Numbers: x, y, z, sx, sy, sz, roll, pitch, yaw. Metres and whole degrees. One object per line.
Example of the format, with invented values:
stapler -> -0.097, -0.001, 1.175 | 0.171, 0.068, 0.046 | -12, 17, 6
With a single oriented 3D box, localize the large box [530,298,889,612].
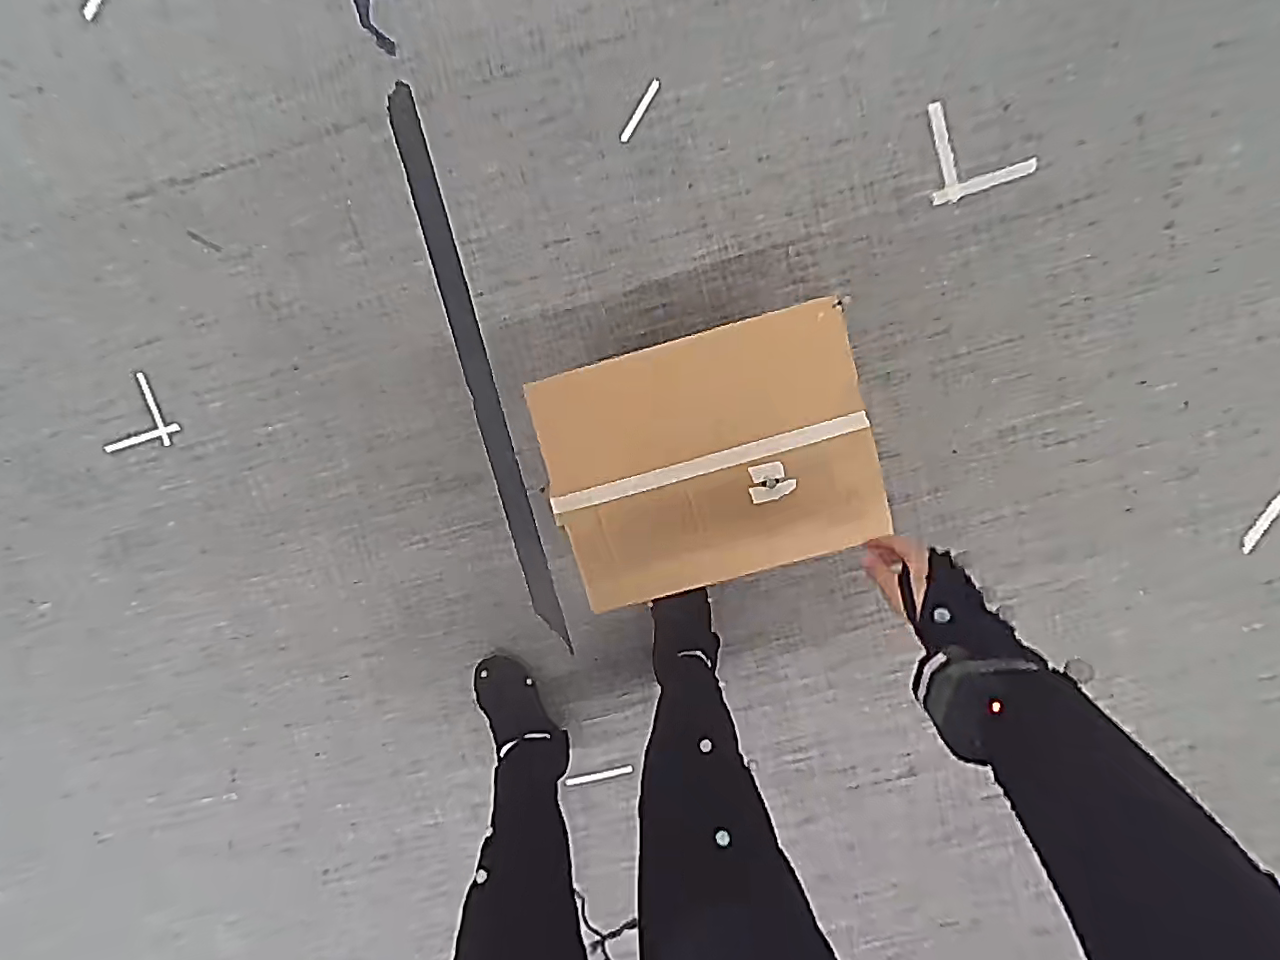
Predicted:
large box -> 0.092, -0.041, 0.834 | 0.408, 0.320, 0.320 | -16, 98, 3
